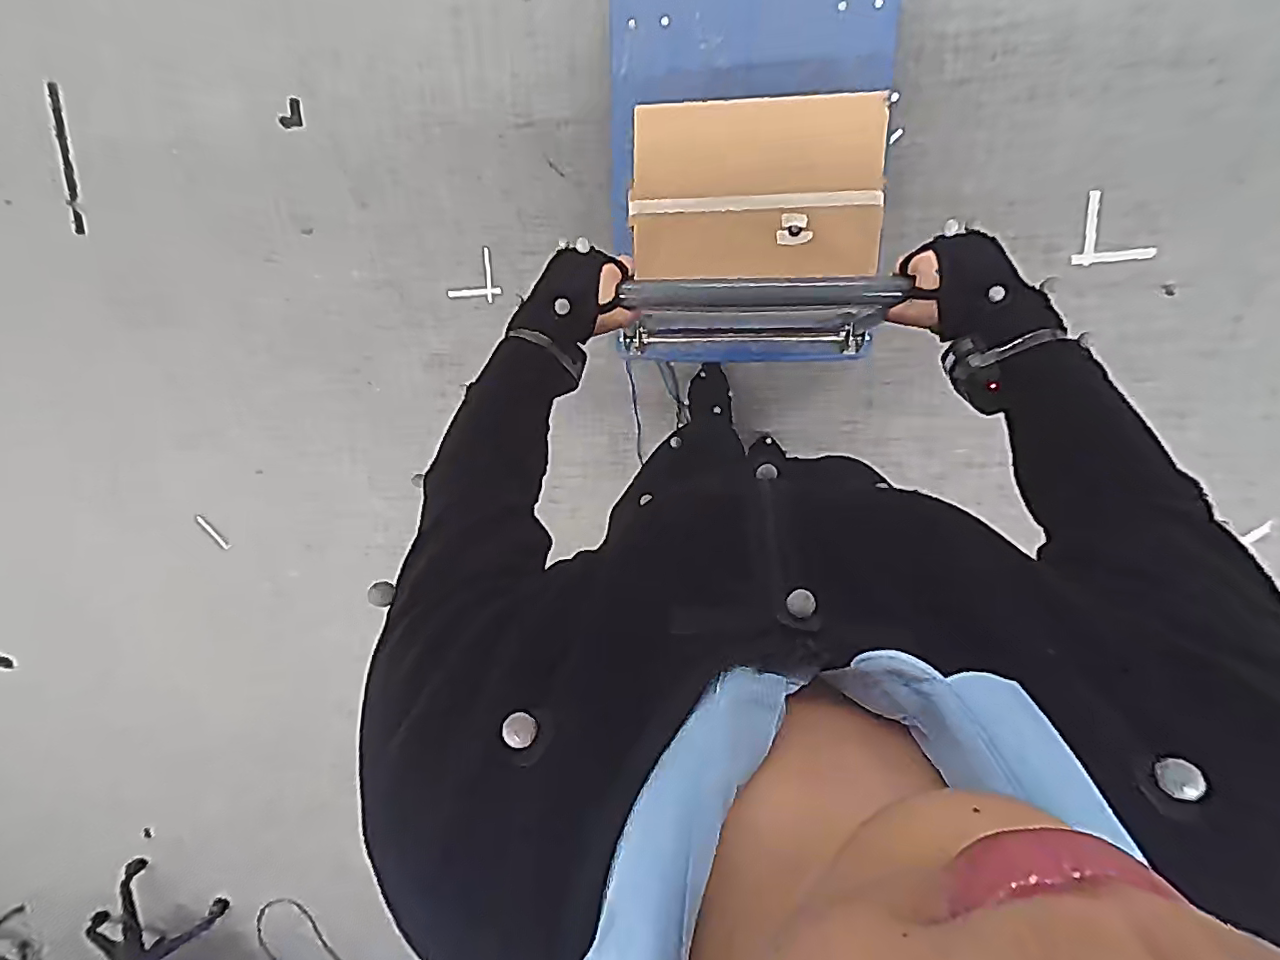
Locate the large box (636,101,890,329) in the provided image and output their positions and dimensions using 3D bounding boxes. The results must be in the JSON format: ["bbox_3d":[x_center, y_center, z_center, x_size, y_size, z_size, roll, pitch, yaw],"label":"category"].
[{"bbox_3d":[0.208,-0.465,1.030,0.408,0.320,0.320,2,101,7],"label":"large box"}]
